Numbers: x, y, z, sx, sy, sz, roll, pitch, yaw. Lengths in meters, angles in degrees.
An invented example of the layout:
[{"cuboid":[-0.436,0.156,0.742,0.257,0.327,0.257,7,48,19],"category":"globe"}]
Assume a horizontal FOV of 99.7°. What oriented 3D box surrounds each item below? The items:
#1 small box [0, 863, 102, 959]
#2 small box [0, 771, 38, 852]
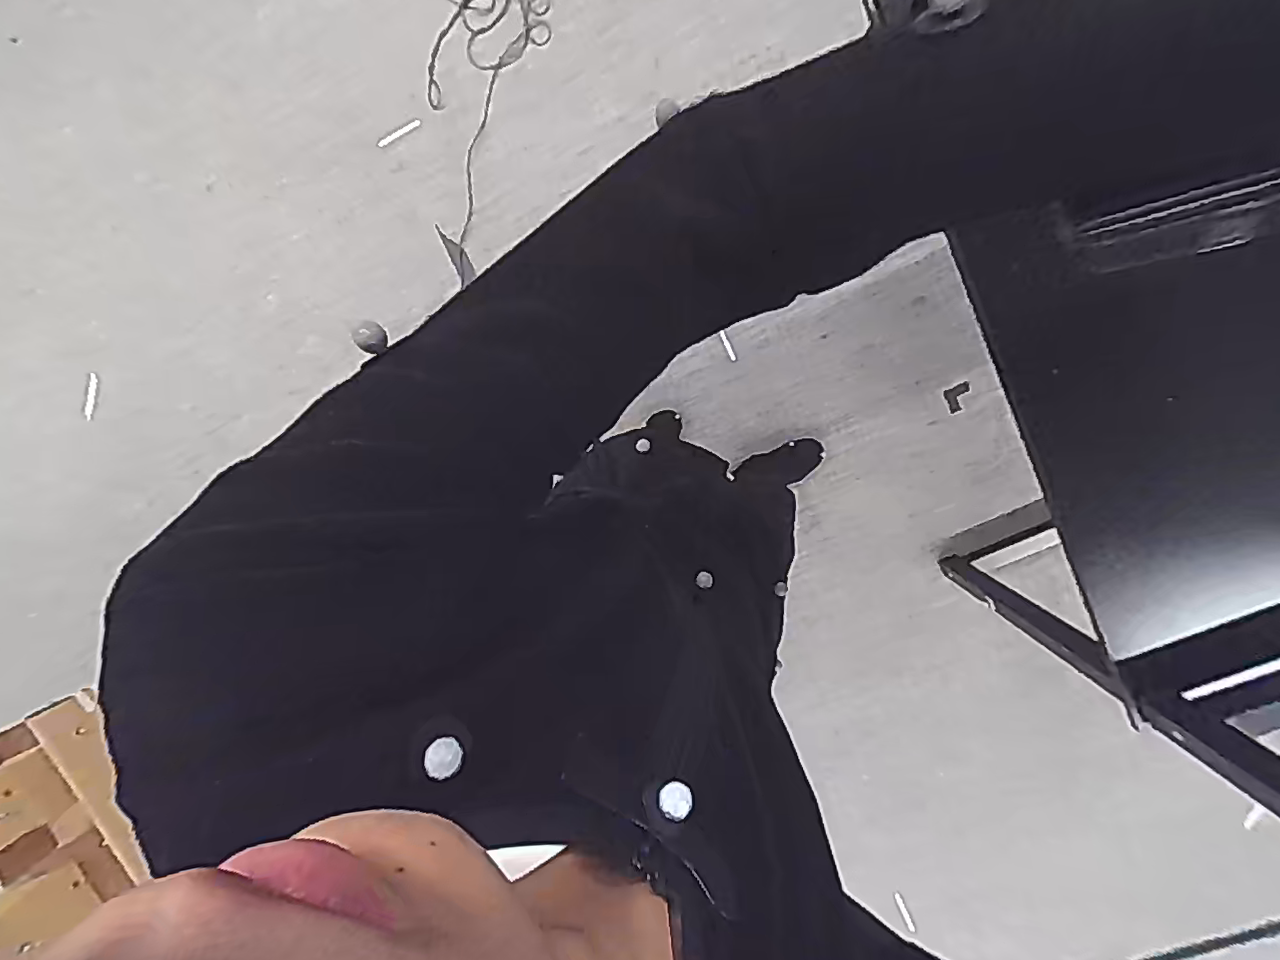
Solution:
[{"cuboid":[-1.432,1.042,1.255,0.179,0.176,0.168,-24,97,10],"category":"small box"},{"cuboid":[-1.553,0.805,1.222,0.179,0.176,0.168,-27,97,9],"category":"small box"}]
